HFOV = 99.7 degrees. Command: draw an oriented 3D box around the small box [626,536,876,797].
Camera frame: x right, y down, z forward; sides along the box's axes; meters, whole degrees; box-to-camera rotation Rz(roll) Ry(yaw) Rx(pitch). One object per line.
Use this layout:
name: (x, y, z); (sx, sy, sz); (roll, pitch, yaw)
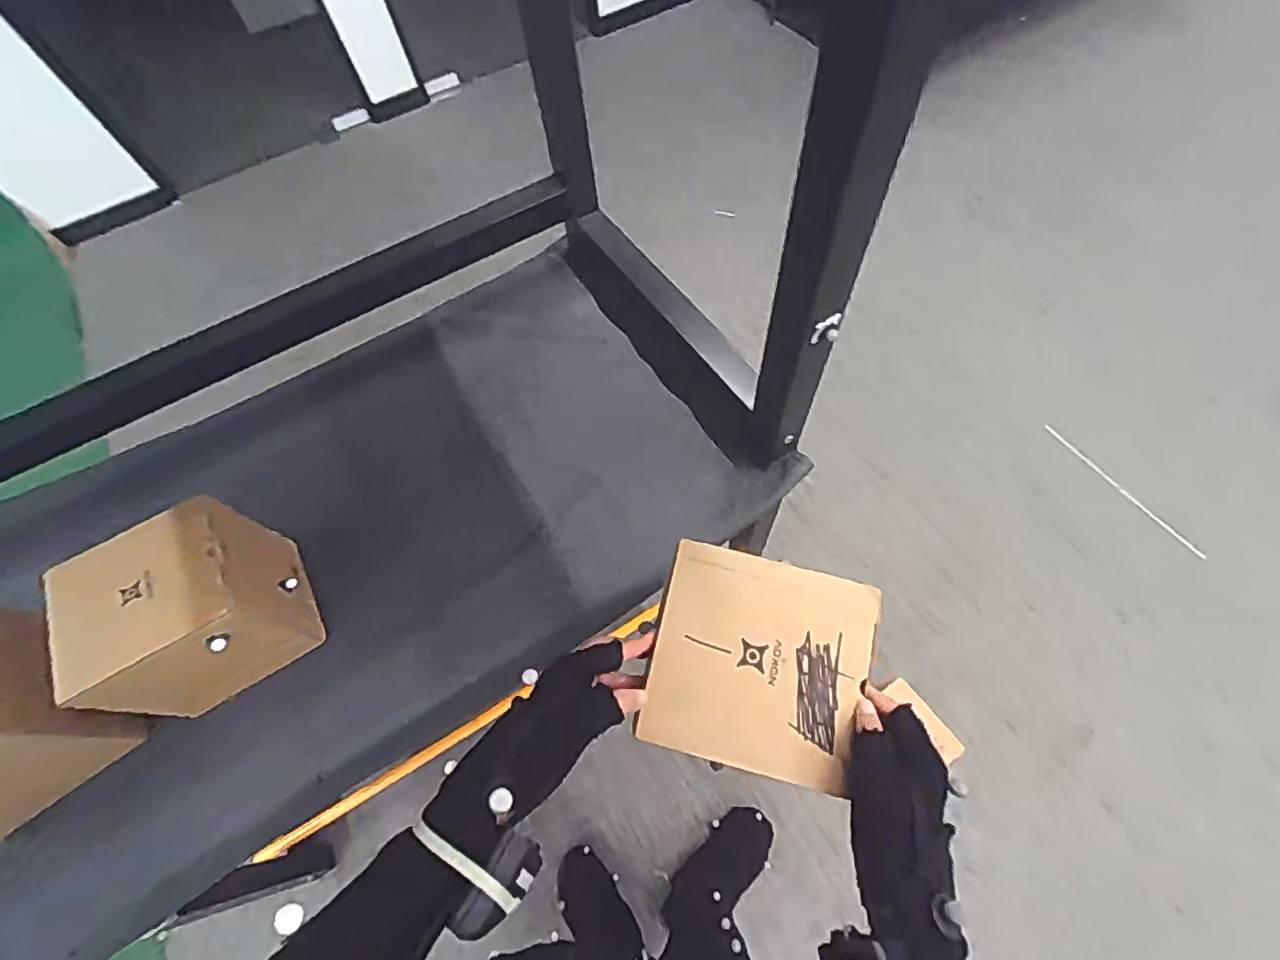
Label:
small box: (0.093, 0.166, 0.509); (0.179, 0.176, 0.168); (14, 73, 5)
